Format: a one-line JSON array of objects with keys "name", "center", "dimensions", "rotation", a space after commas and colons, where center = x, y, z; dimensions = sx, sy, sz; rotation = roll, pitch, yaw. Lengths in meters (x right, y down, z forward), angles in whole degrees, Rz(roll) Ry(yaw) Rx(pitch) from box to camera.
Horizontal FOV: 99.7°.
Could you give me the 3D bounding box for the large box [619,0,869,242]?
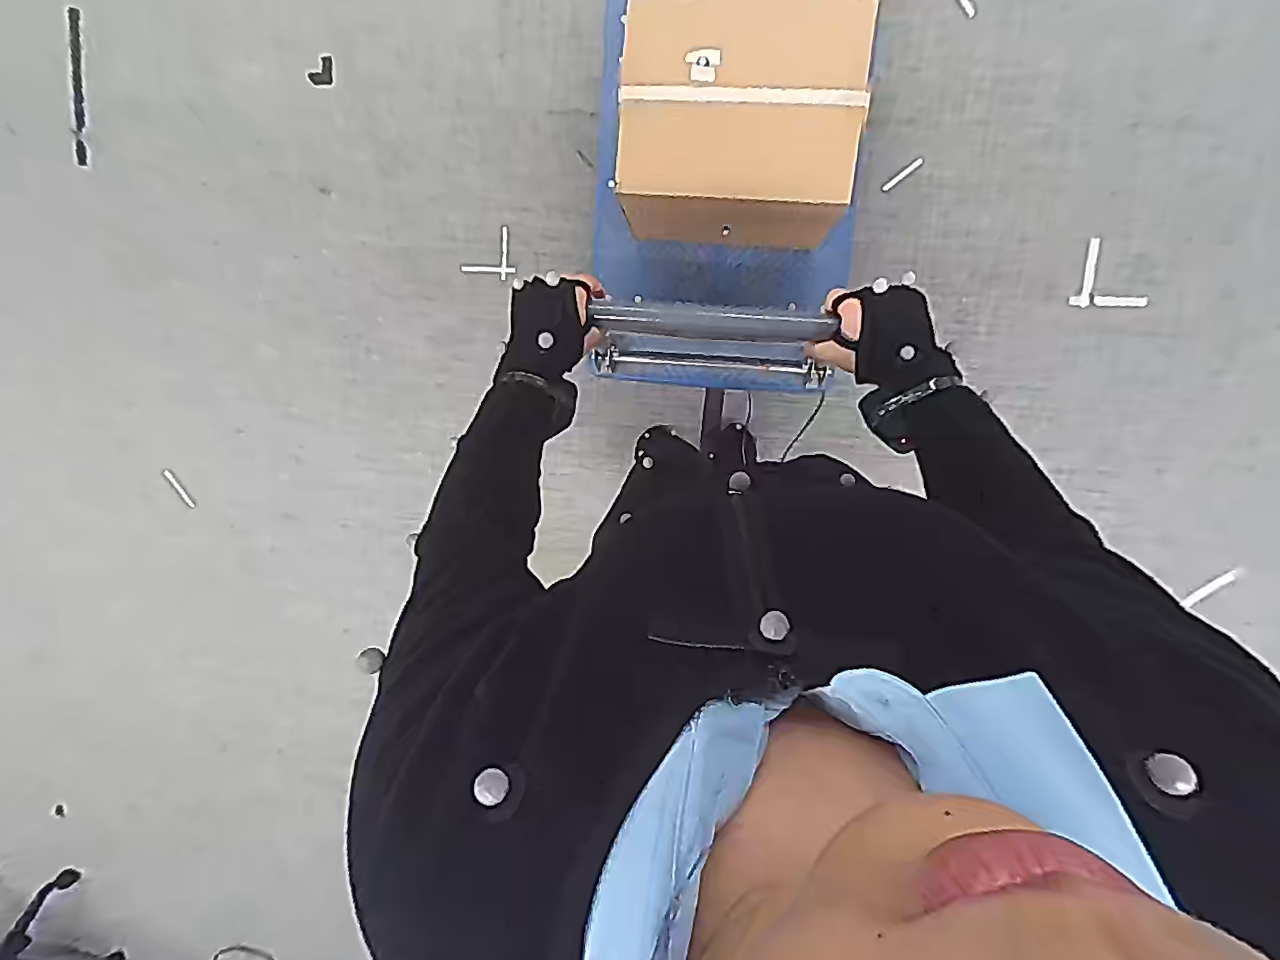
[{"name": "large box", "center": [0.188, -0.671, 1.067], "dimensions": [0.408, 0.320, 0.320], "rotation": [6, 99, 7]}]
